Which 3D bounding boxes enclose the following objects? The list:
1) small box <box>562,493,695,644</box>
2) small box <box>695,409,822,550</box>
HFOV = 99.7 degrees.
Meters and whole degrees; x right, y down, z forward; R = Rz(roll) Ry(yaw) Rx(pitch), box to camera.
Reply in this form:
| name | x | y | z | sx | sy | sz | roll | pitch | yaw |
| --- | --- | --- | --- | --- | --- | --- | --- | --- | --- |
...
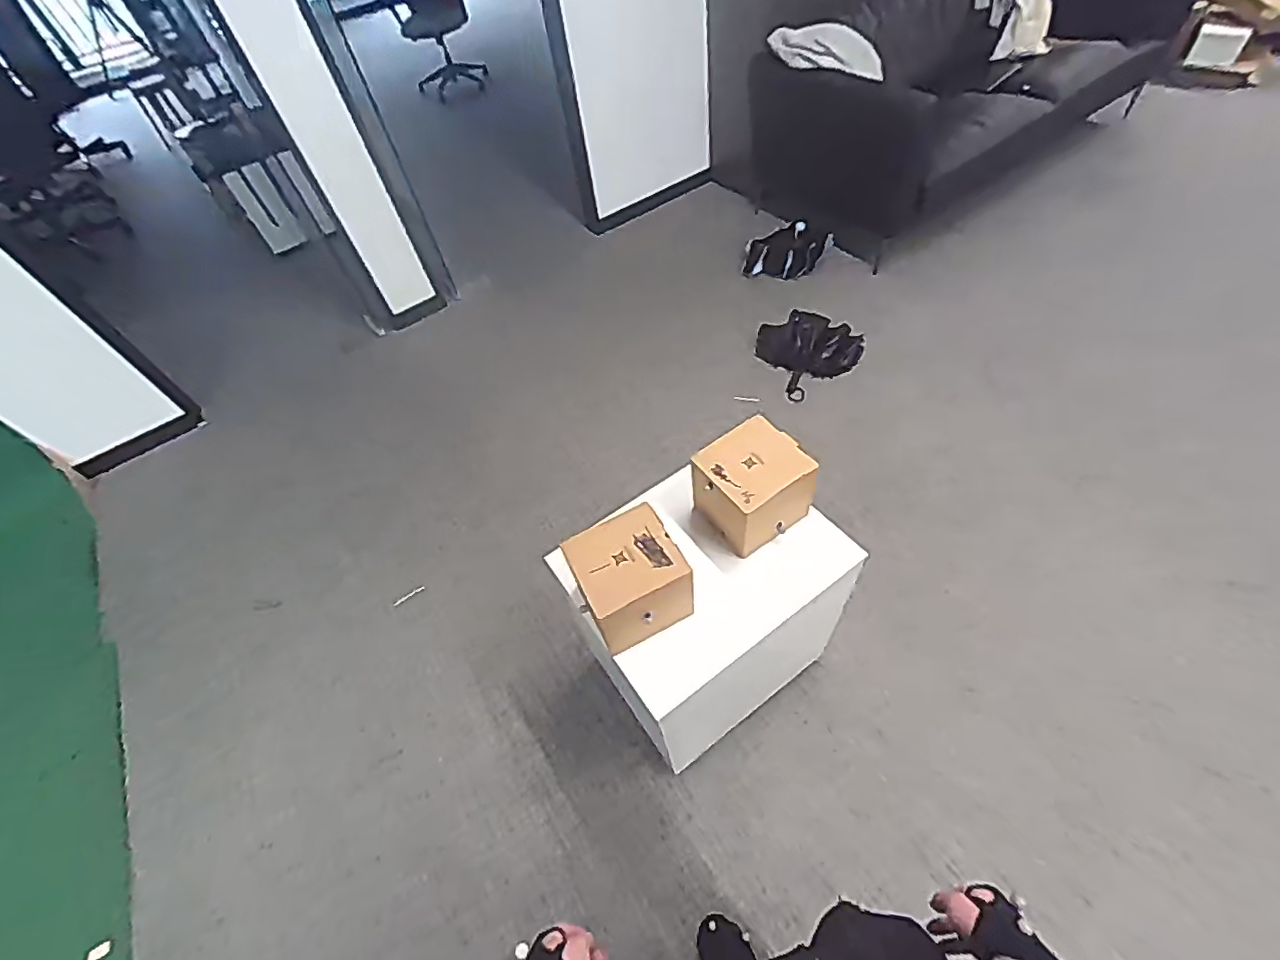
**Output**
| name | x | y | z | sx | sy | sz | roll | pitch | yaw |
| --- | --- | --- | --- | --- | --- | --- | --- | --- | --- |
| small box | -0.018 | 0.159 | 0.958 | 0.179 | 0.176 | 0.168 | -25 | 54 | -12 |
| small box | 0.219 | 0.001 | 1.053 | 0.179 | 0.176 | 0.168 | -30 | 56 | -16 |
